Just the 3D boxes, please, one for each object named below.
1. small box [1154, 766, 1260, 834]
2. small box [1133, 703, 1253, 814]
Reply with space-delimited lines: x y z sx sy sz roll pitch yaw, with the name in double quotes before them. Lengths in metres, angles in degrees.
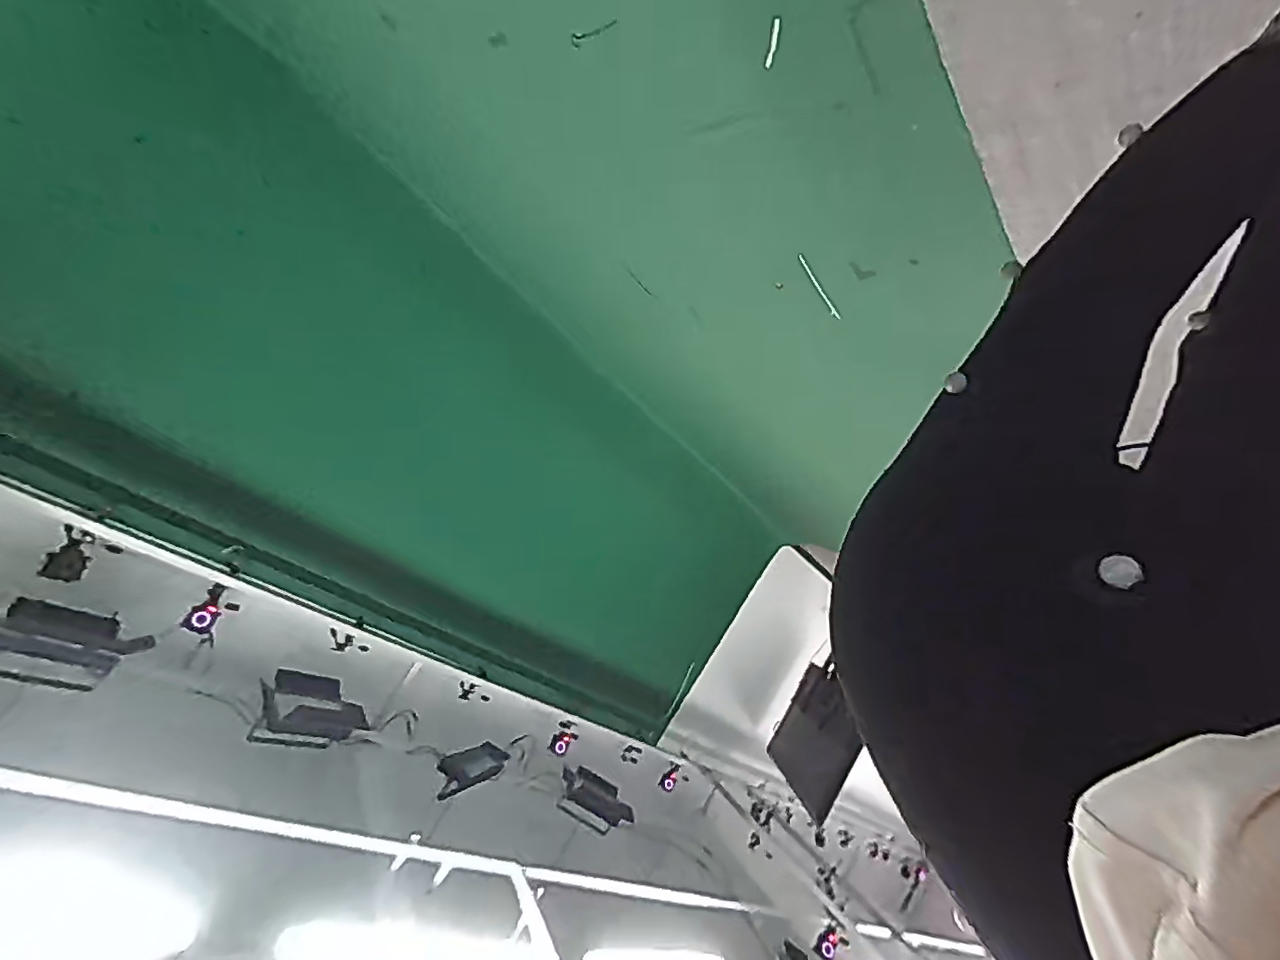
"small box" 1.561 0.836 1.494 0.179 0.176 0.168 40 170 -38
"small box" 1.380 0.692 1.352 0.168 0.176 0.179 39 169 -38
